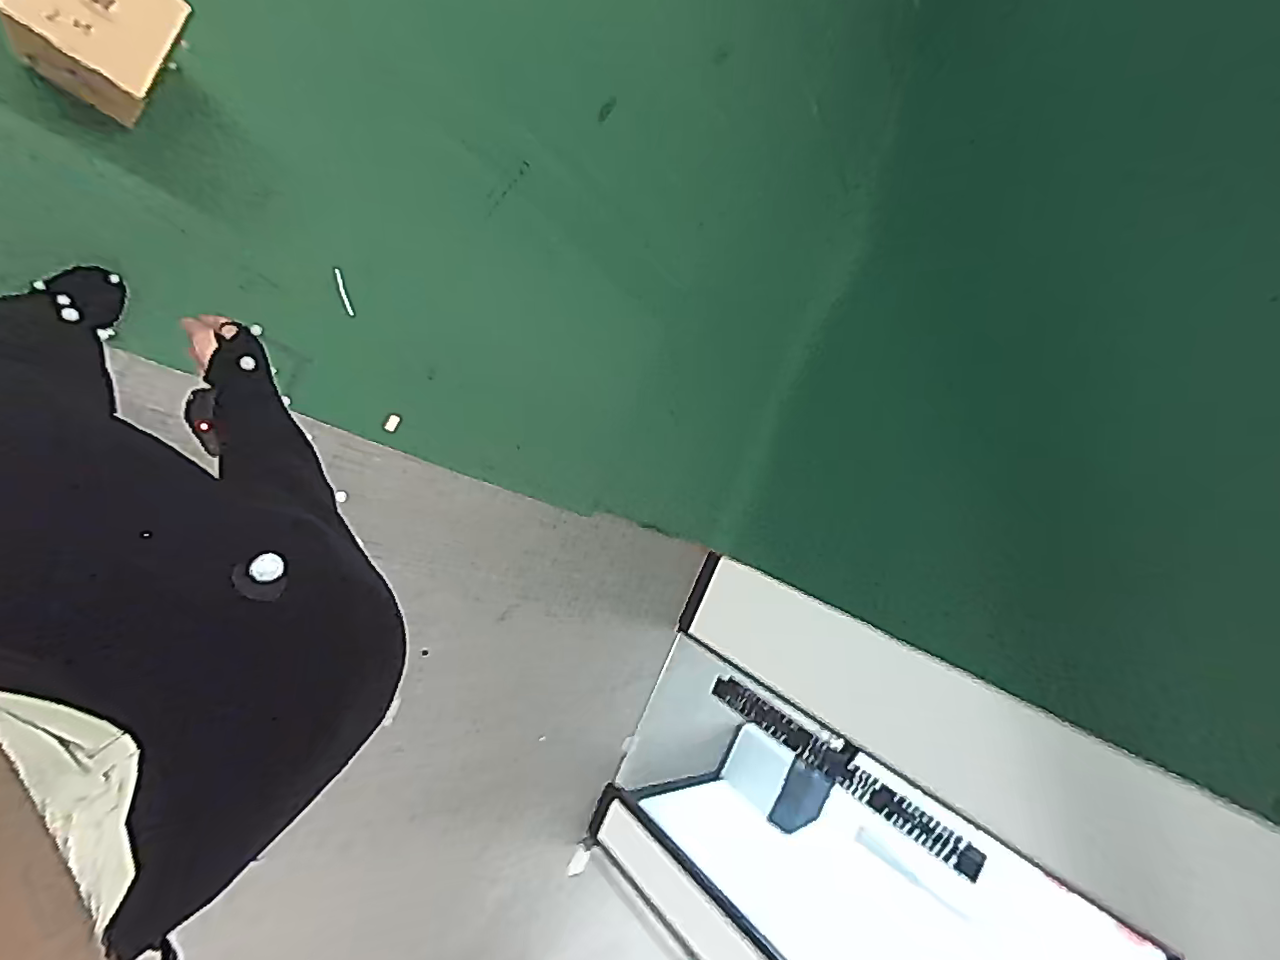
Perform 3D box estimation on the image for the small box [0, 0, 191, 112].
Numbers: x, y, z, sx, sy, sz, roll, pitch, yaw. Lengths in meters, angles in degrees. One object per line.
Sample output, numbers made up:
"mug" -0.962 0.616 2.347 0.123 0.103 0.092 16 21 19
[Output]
"small box" -0.867 -0.738 0.866 0.168 0.176 0.179 28 87 -47
